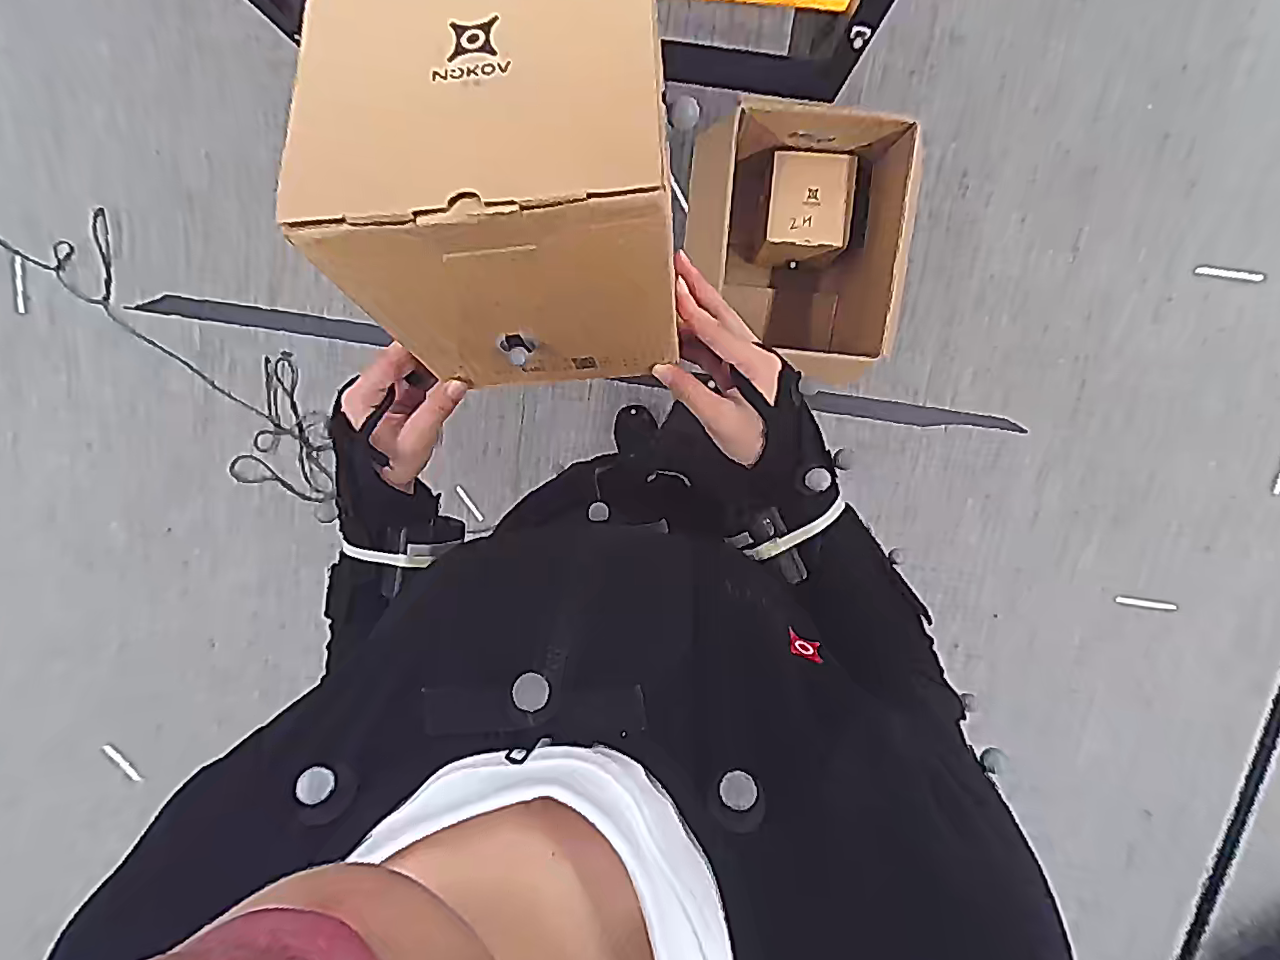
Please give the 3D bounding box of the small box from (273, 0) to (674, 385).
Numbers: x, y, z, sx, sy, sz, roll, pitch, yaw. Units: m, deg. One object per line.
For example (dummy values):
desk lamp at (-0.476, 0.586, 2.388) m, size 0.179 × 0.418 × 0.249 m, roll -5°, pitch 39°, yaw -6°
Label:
small box at (-0.068, -0.174, 0.318) m, size 0.168 × 0.176 × 0.179 m, roll -4°, pitch 76°, yaw 5°
